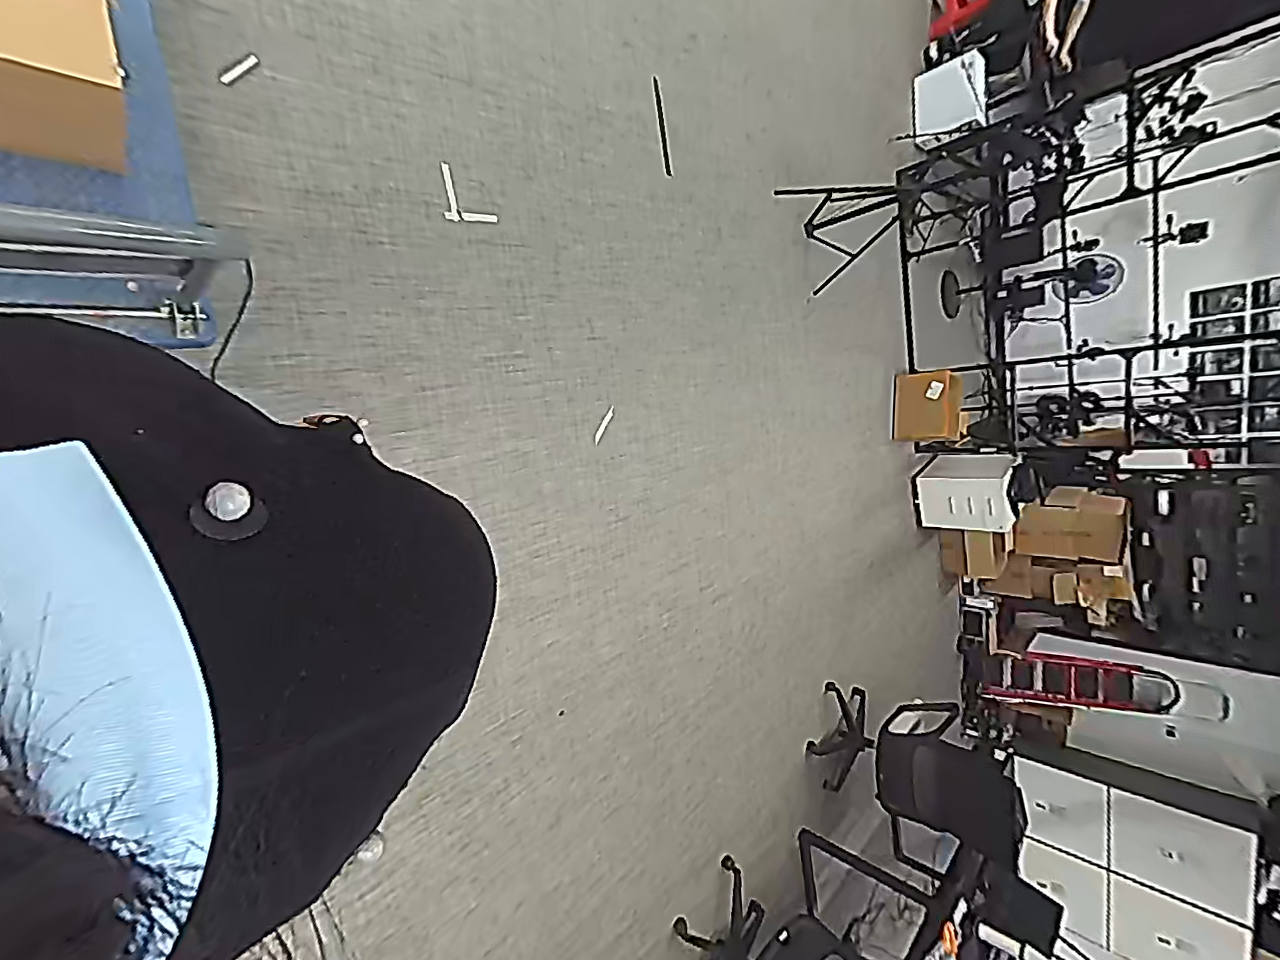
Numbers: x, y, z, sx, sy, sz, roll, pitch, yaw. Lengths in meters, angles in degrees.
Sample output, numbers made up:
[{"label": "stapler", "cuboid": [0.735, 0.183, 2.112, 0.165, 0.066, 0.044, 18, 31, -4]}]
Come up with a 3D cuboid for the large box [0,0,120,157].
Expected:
[{"label": "large box", "cuboid": [-0.980, -0.679, 0.700, 0.408, 0.320, 0.320, -11, 98, -42]}]
